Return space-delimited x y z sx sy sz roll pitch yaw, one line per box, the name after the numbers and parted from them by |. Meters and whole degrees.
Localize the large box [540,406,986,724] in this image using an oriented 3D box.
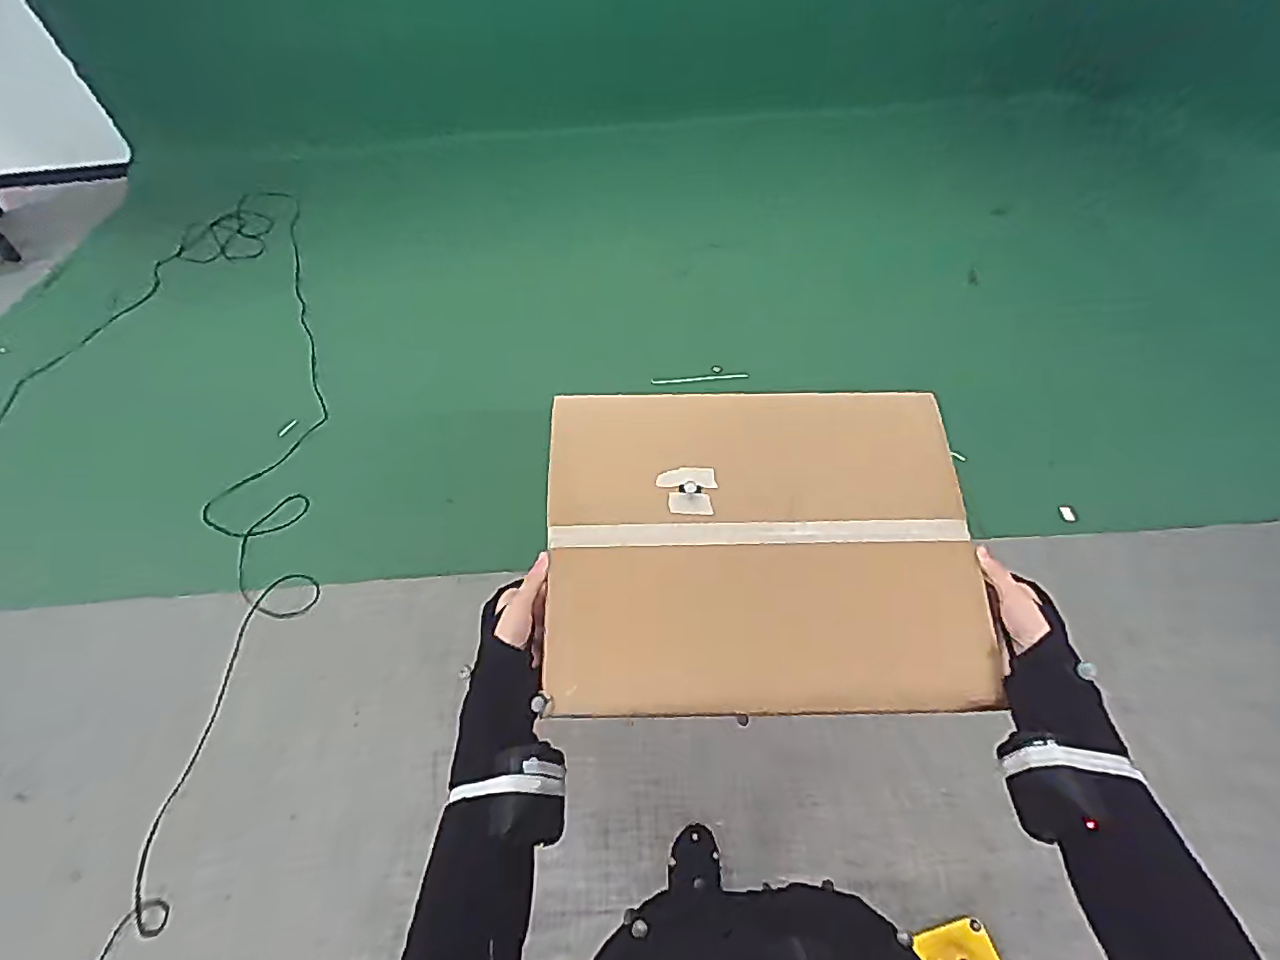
0.109 0.121 0.669 0.408 0.320 0.320 -1 67 0 | large box
